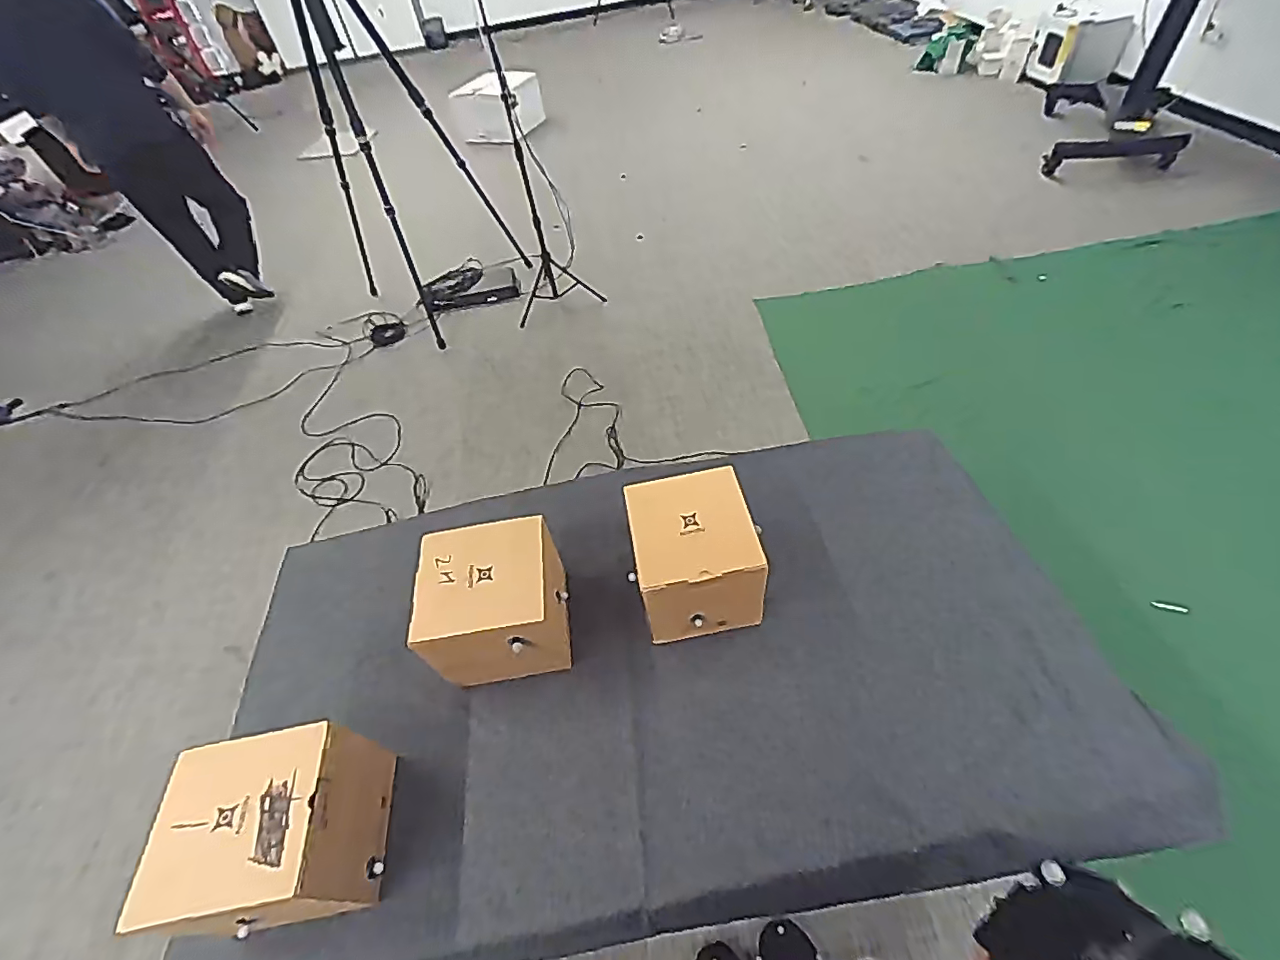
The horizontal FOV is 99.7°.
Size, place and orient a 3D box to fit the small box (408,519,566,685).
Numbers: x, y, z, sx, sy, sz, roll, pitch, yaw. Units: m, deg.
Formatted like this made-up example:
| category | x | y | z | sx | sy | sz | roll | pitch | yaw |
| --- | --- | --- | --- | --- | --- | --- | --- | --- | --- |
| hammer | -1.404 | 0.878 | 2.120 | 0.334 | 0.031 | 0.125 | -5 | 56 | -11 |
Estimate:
| category | x | y | z | sx | sy | sz | roll | pitch | yaw |
| --- | --- | --- | --- | --- | --- | --- | --- | --- | --- |
| small box | -0.205 | 0.179 | 0.781 | 0.179 | 0.176 | 0.168 | -9 | 51 | 0 |

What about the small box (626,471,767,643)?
| category | x | y | z | sx | sy | sz | roll | pitch | yaw |
| --- | --- | --- | --- | --- | --- | --- | --- | --- | --- |
| small box | 0.077 | 0.116 | 0.801 | 0.168 | 0.176 | 0.179 | -11 | 50 | -1 |

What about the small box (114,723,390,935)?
| category | x | y | z | sx | sy | sz | roll | pitch | yaw |
| --- | --- | --- | --- | --- | --- | --- | --- | --- | --- |
| small box | -0.416 | 0.402 | 0.623 | 0.179 | 0.176 | 0.168 | -11 | 49 | -1 |
